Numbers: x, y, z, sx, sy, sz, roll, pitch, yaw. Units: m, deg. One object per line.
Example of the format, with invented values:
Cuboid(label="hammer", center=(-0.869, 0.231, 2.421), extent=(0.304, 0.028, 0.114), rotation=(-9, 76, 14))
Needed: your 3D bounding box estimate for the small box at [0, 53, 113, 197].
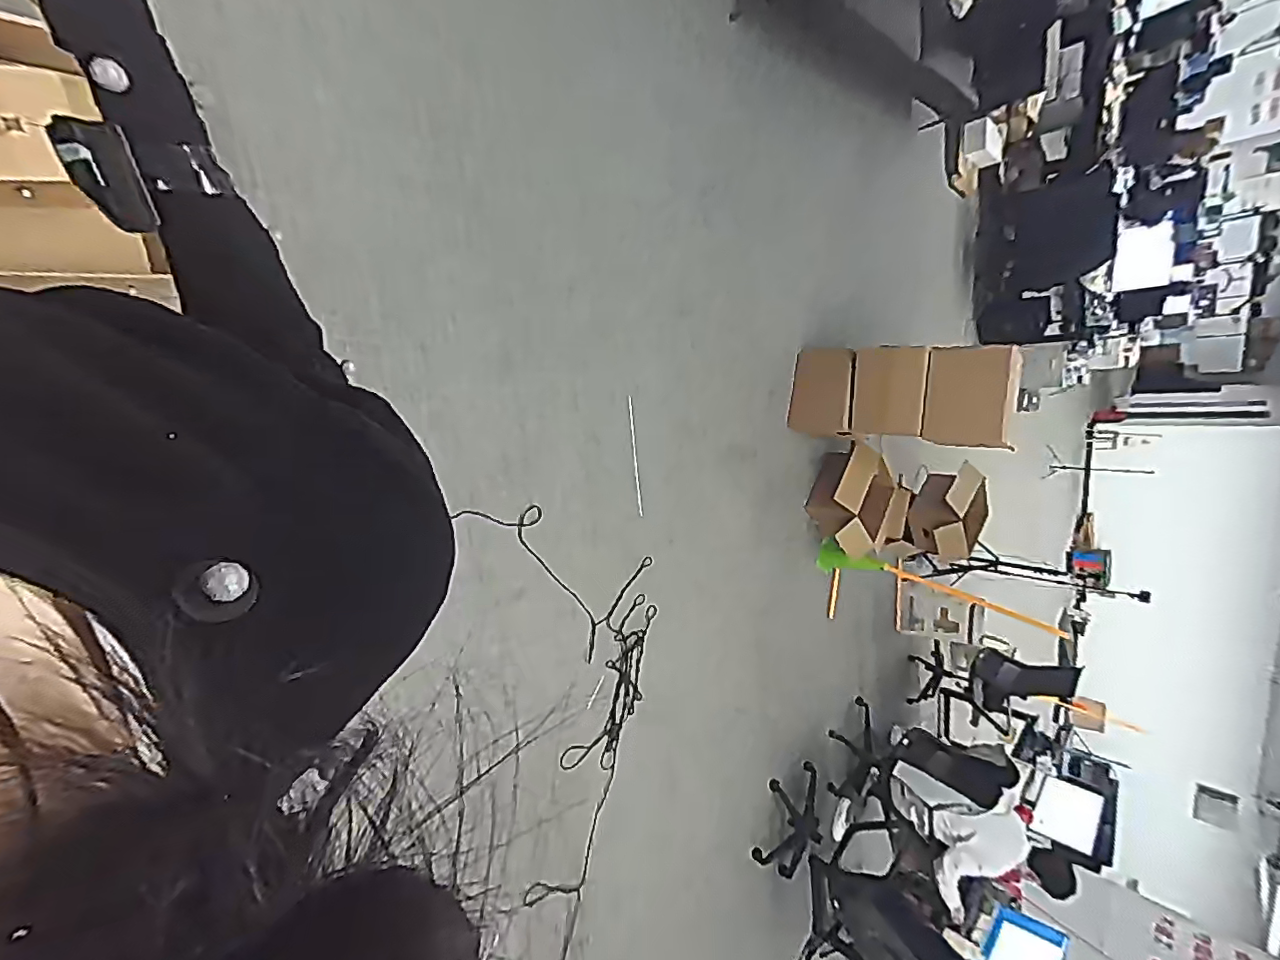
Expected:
Cuboid(label="small box", center=(-1.034, -0.587, 0.908), extent=(0.179, 0.176, 0.168), rotation=(-24, 112, -38))
